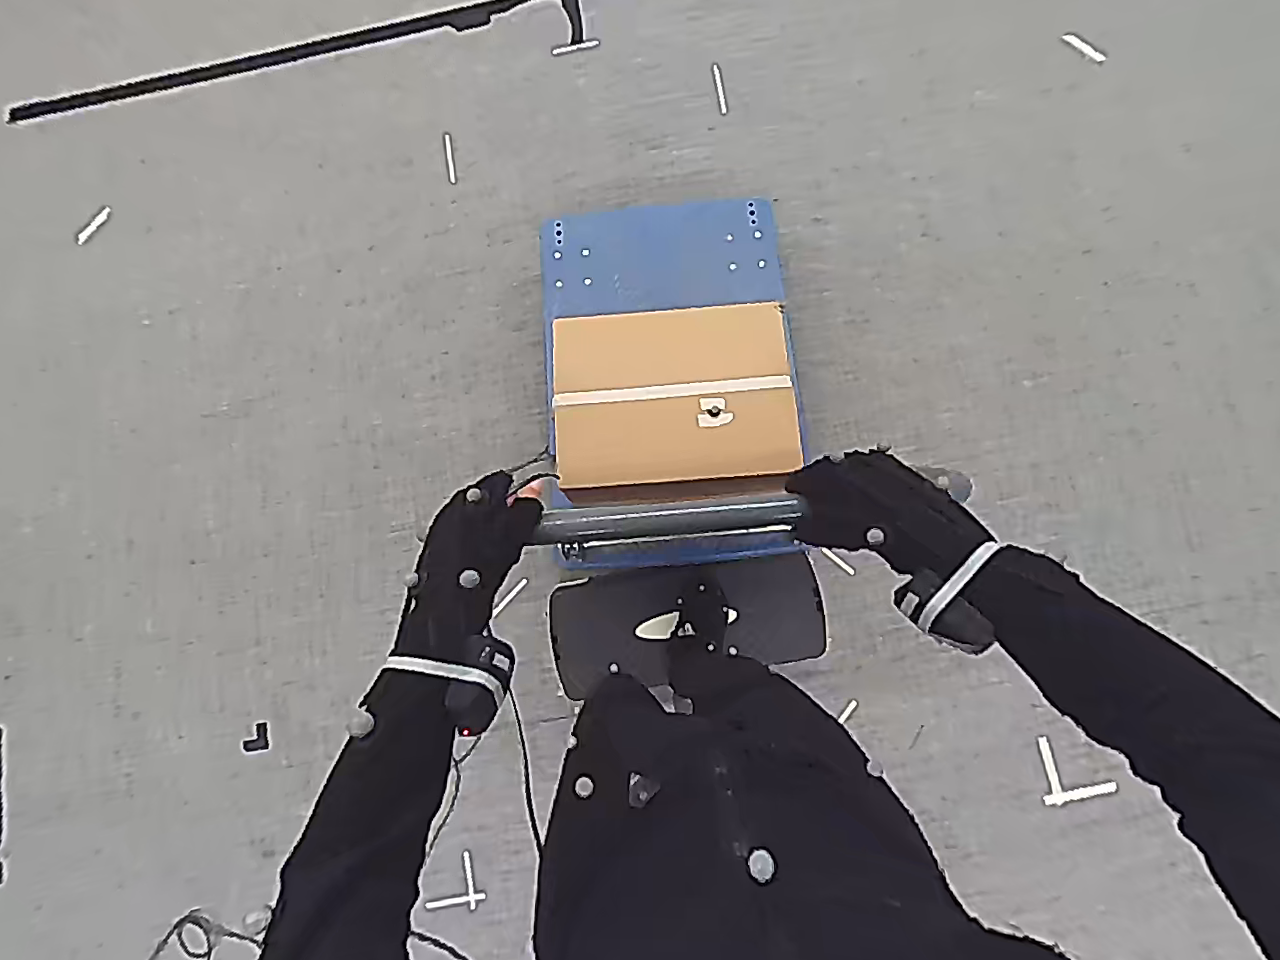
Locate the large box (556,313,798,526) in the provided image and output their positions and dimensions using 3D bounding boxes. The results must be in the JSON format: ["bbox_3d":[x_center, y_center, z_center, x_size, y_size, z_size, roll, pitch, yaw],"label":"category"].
[{"bbox_3d":[0.060,-0.099,1.081,0.408,0.320,0.320,-4,76,1],"label":"large box"}]
